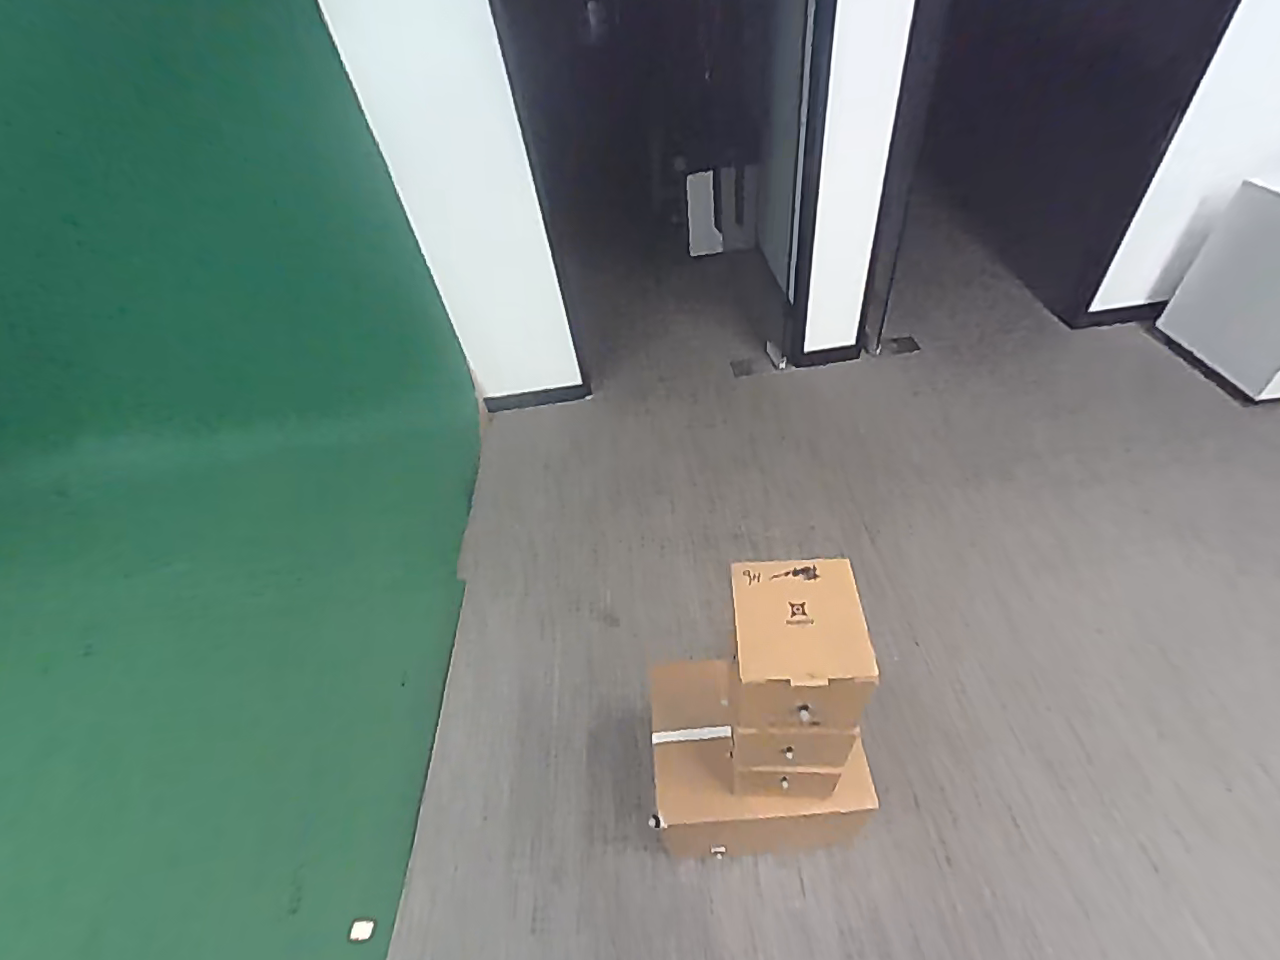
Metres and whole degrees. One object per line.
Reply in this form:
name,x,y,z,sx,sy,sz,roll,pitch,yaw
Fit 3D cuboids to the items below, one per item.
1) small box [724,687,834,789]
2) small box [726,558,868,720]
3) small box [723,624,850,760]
small box,0.247,0.461,1.003,0.179,0.176,0.168,-1,48,6
small box,0.212,0.231,0.773,0.168,0.176,0.179,-3,48,7
small box,0.229,0.348,0.887,0.179,0.176,0.168,-4,48,9
